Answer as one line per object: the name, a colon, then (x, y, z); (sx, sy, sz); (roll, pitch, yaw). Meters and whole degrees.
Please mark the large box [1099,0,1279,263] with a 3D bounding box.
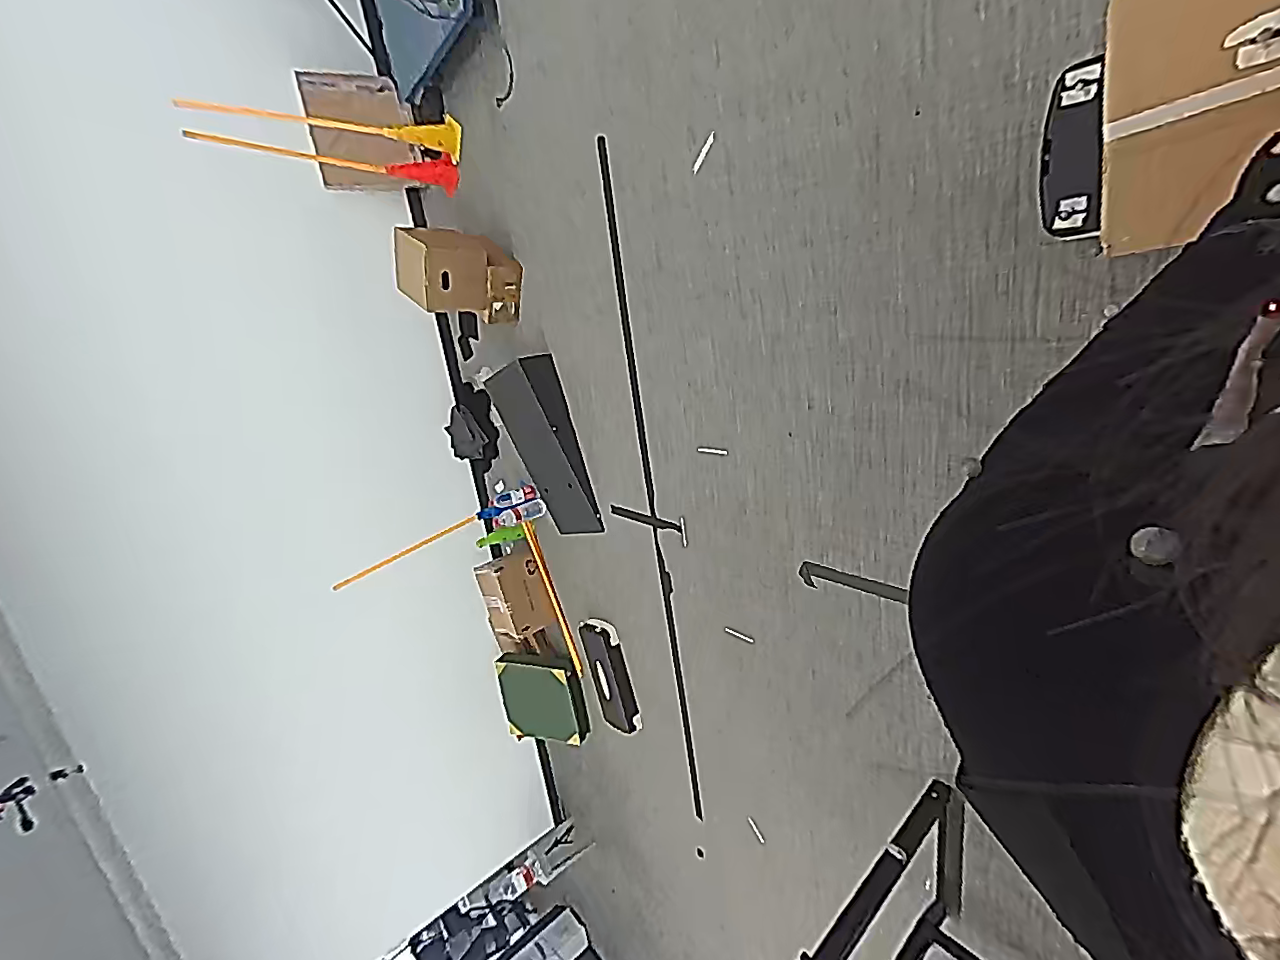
large box: (0.839, -0.469, 0.633); (0.408, 0.320, 0.320); (8, 112, 52)
